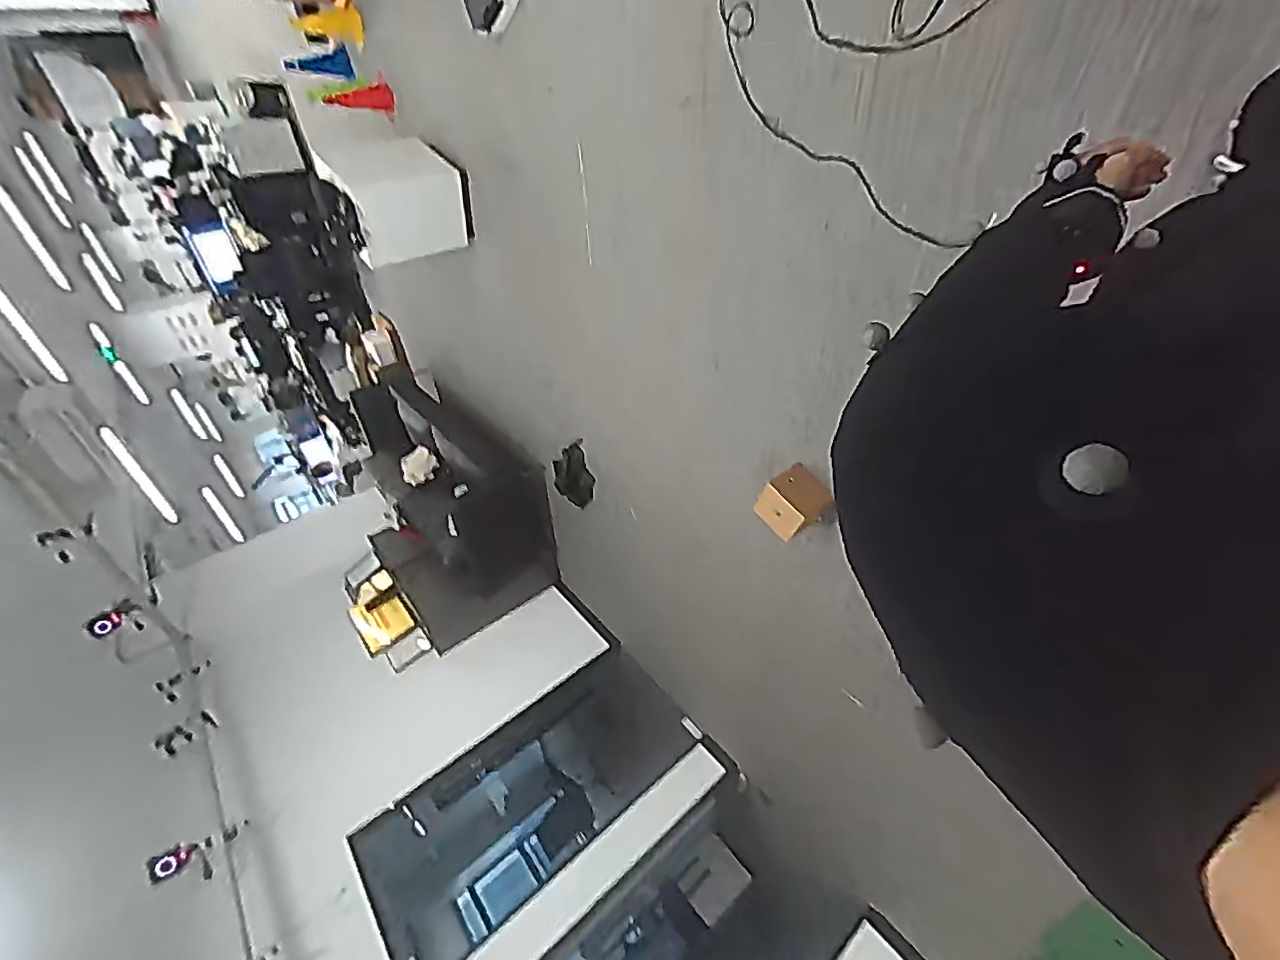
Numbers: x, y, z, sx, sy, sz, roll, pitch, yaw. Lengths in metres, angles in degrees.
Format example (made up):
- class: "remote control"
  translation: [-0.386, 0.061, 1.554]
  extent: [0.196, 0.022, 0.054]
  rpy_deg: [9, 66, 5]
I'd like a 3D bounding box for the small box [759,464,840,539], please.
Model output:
- class: "small box"
  translation: [0.550, 0.065, 1.870]
  extent: [0.179, 0.176, 0.168]
  rpy_deg: [47, 149, 23]
